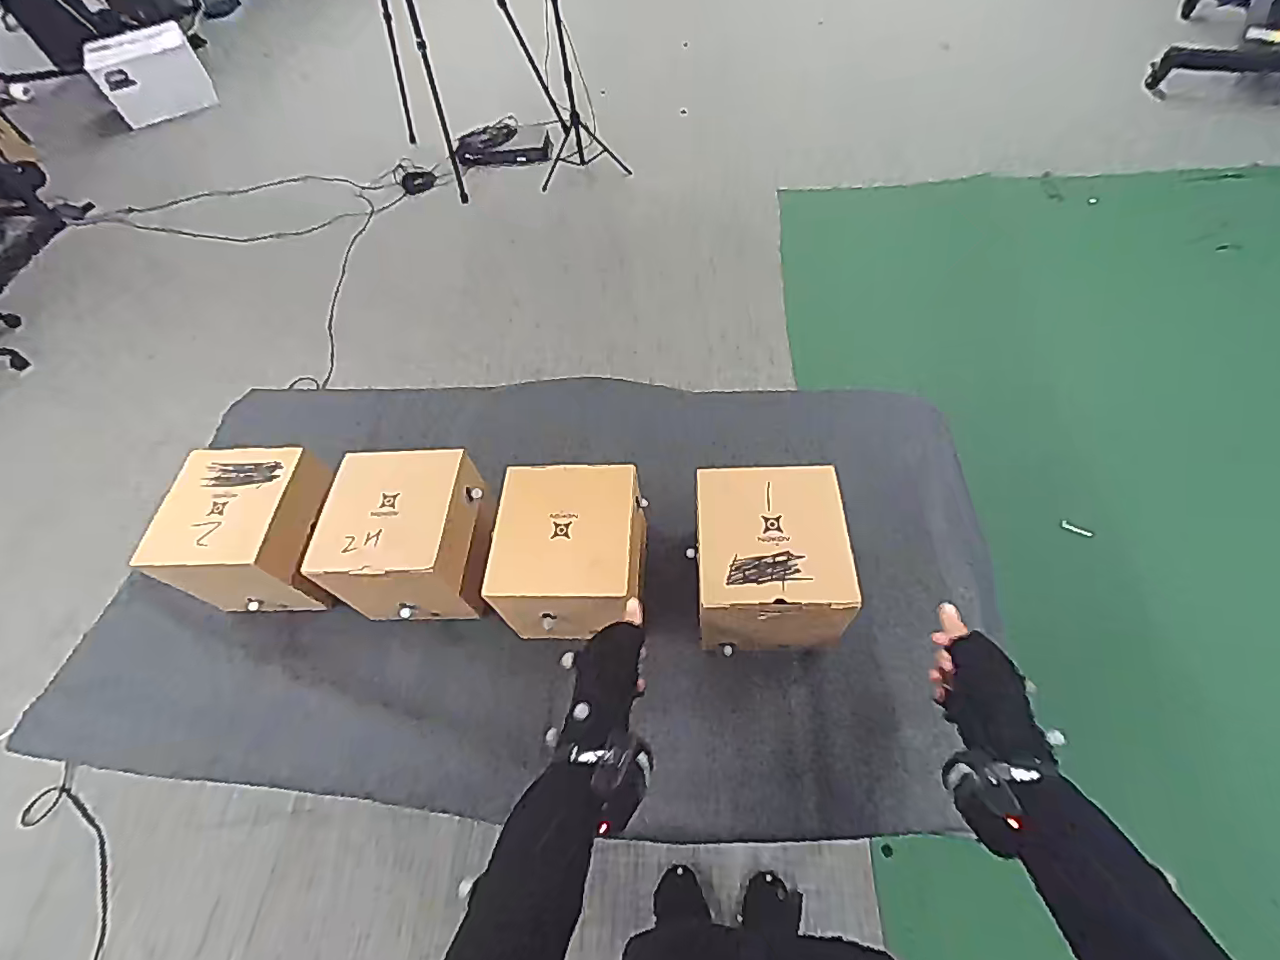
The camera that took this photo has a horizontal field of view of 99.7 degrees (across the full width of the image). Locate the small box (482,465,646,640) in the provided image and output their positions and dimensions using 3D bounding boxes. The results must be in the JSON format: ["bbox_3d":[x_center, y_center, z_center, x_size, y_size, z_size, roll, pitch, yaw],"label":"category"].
[{"bbox_3d":[-0.082,0.099,0.696,0.168,0.176,0.179,-1,56,6],"label":"small box"}]

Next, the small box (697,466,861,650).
[{"bbox_3d":[0.156,0.102,0.665,0.168,0.176,0.179,-1,56,6],"label":"small box"}]

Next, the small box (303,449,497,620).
[{"bbox_3d":[-0.302,0.077,0.733,0.168,0.176,0.179,-2,57,6],"label":"small box"}]
